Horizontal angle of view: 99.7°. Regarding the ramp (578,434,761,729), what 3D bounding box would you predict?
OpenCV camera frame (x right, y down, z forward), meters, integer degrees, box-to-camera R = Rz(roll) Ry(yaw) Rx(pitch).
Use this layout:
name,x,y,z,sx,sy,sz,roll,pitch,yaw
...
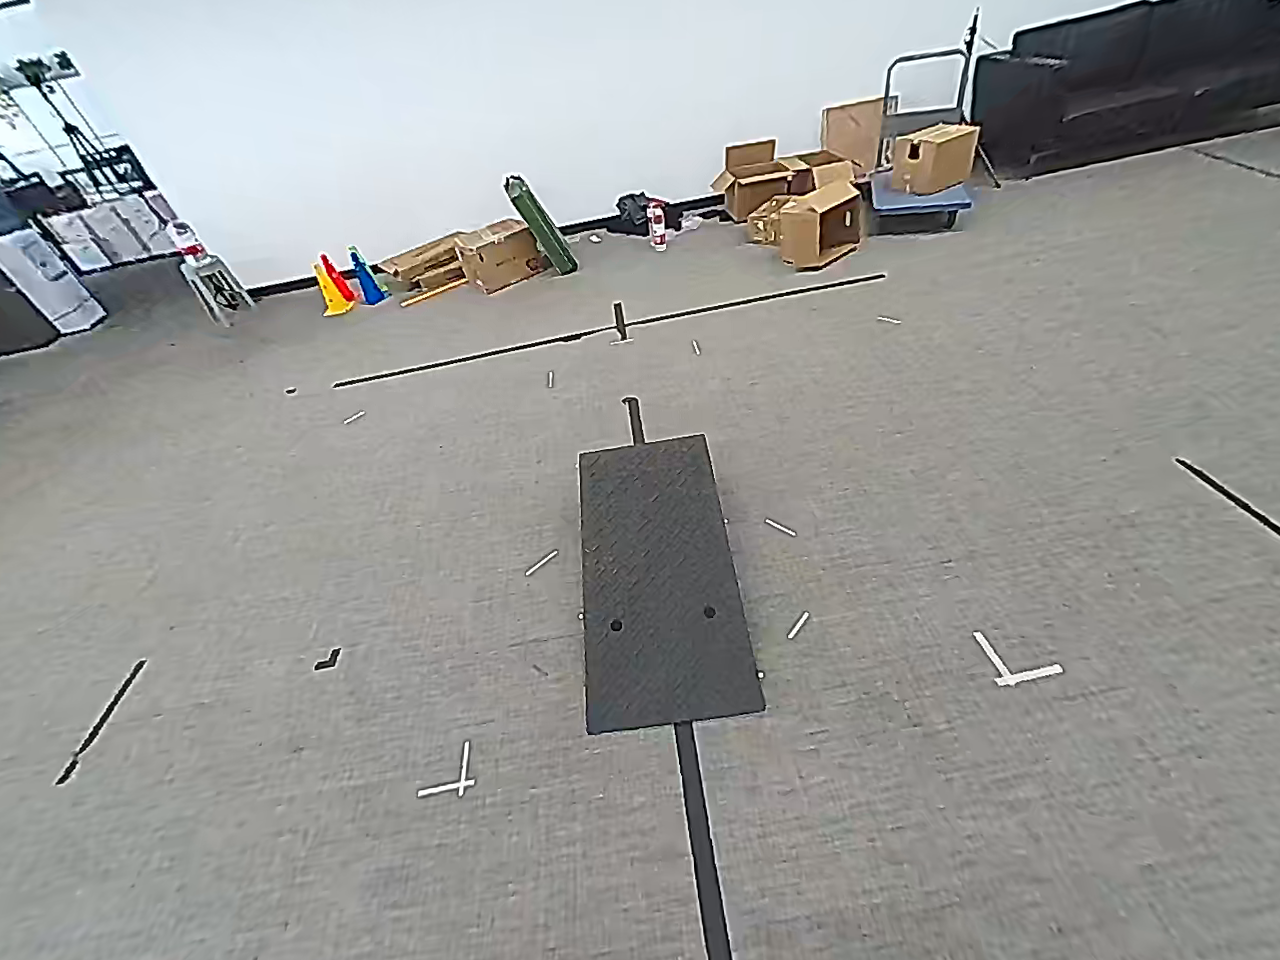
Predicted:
name,x,y,z,sx,sy,sz,roll,pitch,yaw
ramp,0.048,0.255,1.771,0.509,0.206,0.991,-9,42,1
